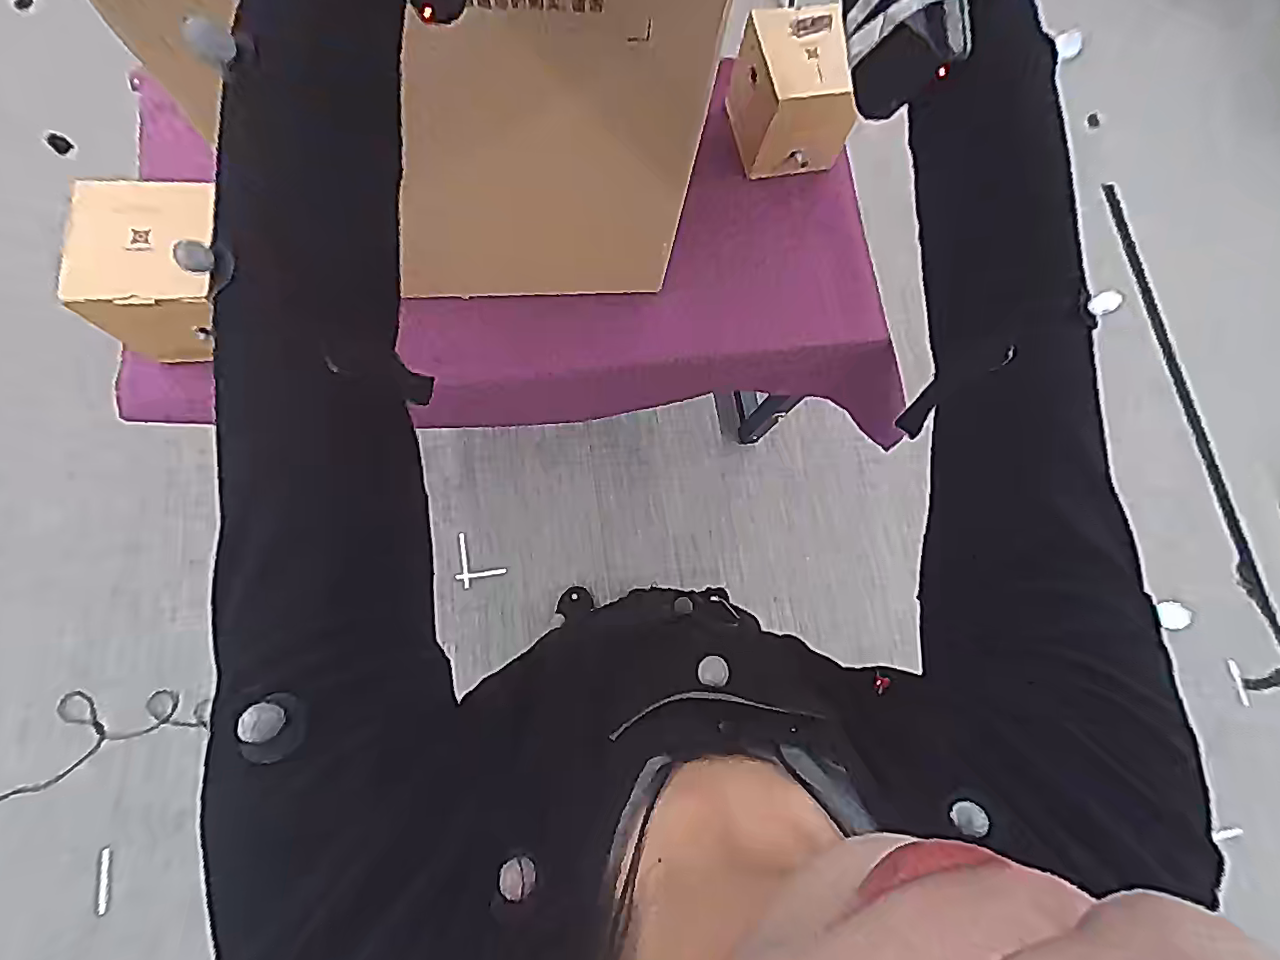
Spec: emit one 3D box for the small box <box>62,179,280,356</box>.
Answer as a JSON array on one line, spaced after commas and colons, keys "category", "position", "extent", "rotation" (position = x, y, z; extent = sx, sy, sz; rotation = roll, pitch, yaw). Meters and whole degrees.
[{"category": "small box", "position": [-0.634, -0.285, 0.758], "extent": [0.168, 0.176, 0.179], "rotation": [-4, 76, -10]}]
